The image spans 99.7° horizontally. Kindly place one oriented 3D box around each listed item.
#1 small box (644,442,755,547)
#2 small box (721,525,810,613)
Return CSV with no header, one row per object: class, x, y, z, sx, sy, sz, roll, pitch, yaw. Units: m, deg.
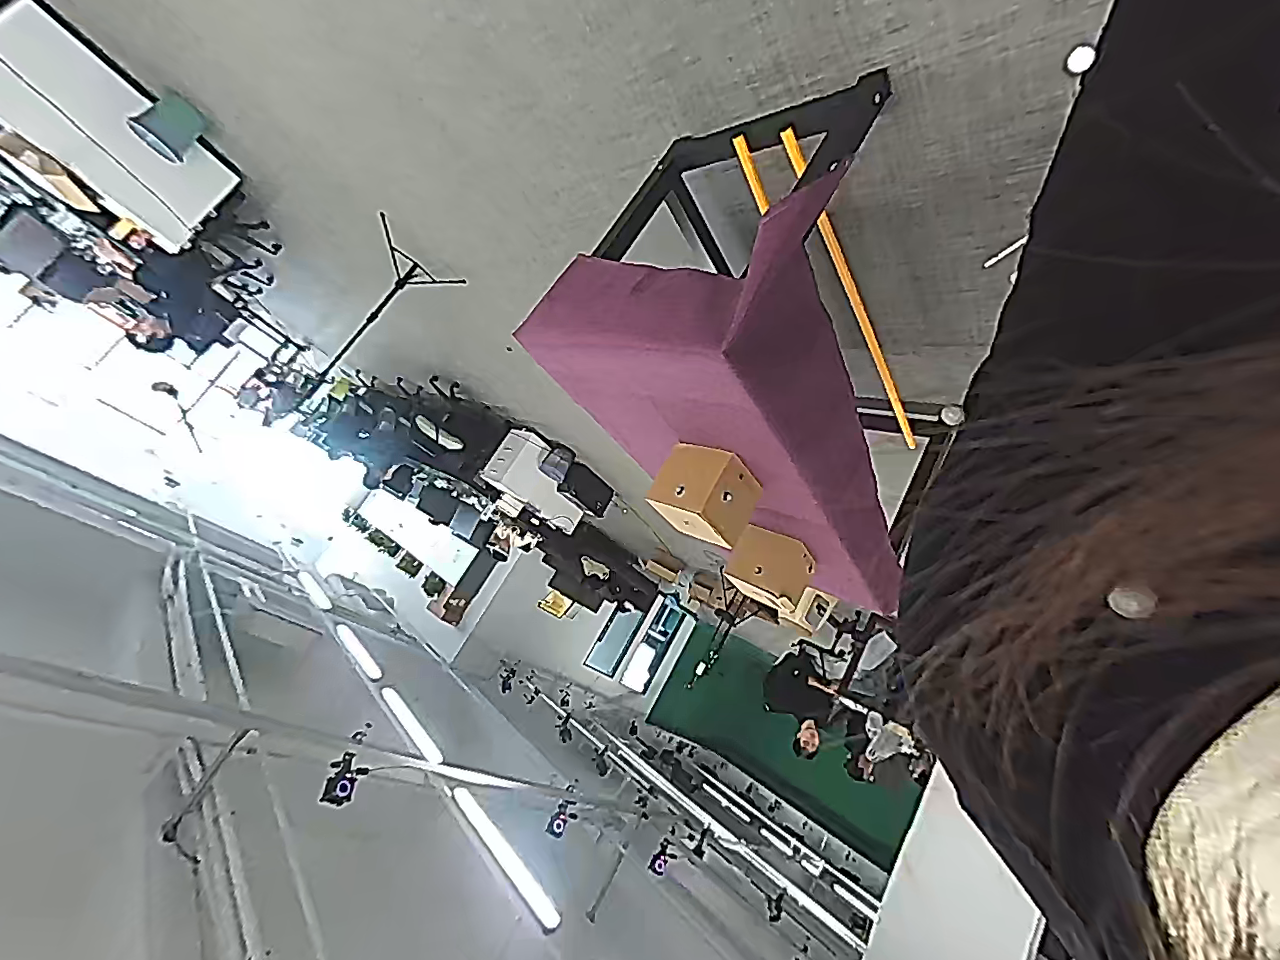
small box,0.147,0.028,1.266,0.179,0.176,0.168,17,159,45
small box,0.369,0.250,1.551,0.179,0.176,0.168,19,161,42
